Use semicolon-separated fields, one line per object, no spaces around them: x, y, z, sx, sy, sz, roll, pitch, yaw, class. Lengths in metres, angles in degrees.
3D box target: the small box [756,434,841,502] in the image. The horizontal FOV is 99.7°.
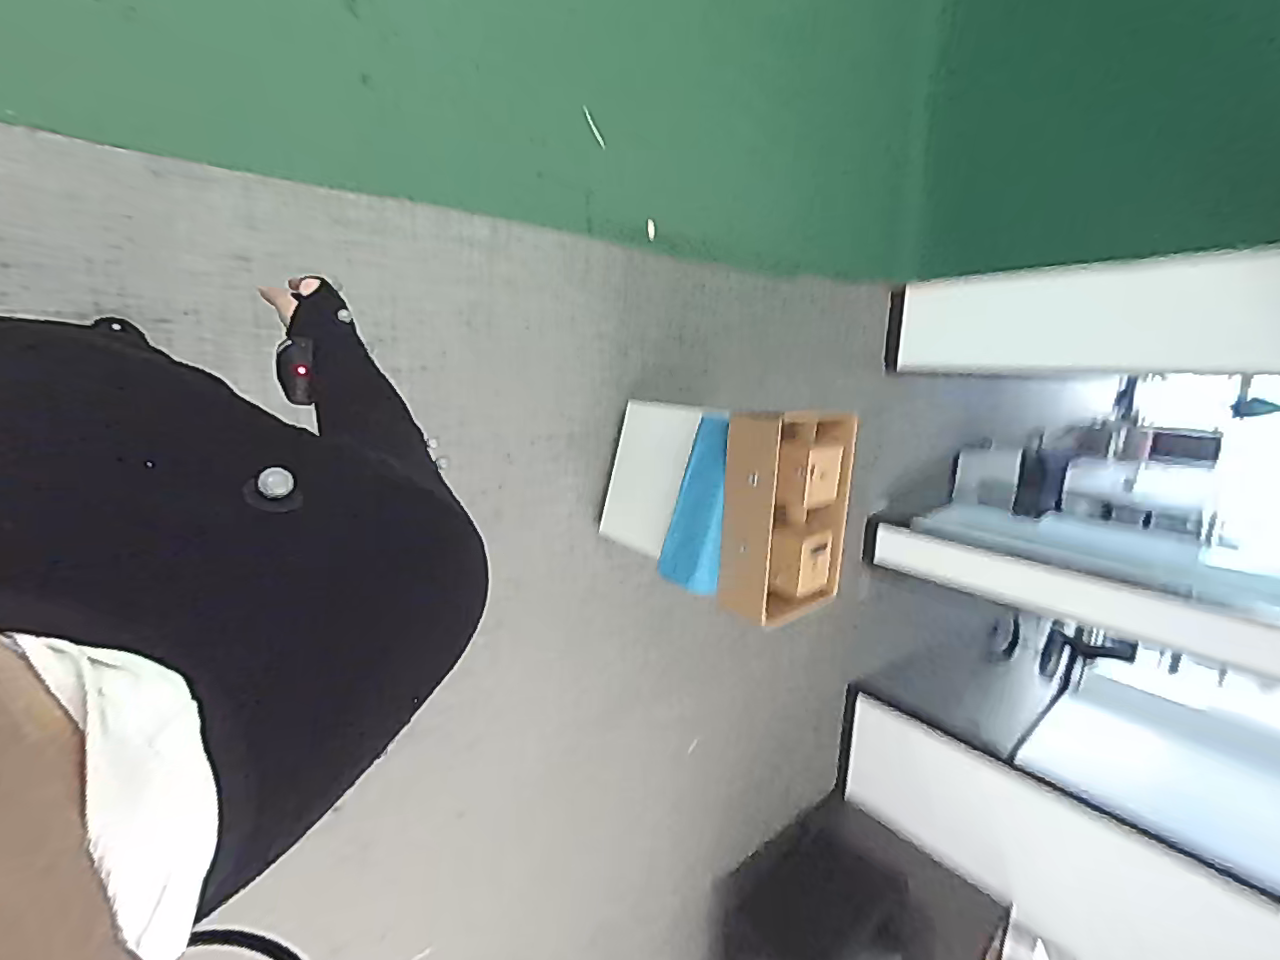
0.470;-0.042;1.607;0.179;0.176;0.168;-9;106;-41;small box
